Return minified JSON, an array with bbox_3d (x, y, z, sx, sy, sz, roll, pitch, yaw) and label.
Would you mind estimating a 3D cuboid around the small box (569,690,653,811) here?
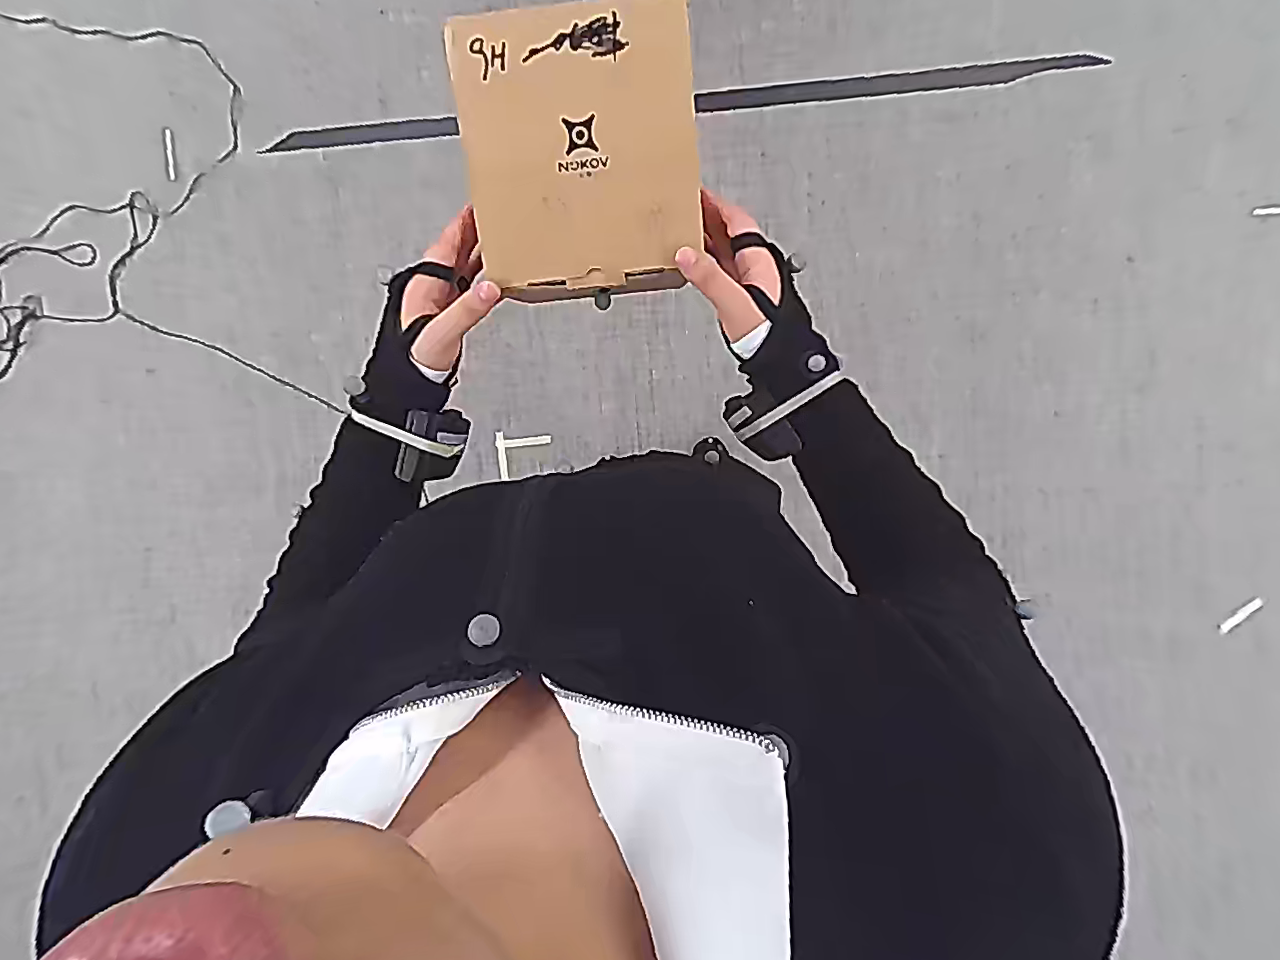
[{"bbox_3d":[-0.058,0.586,1.186,0.168,0.176,0.179,-1,94,4],"label":"small box"}]
